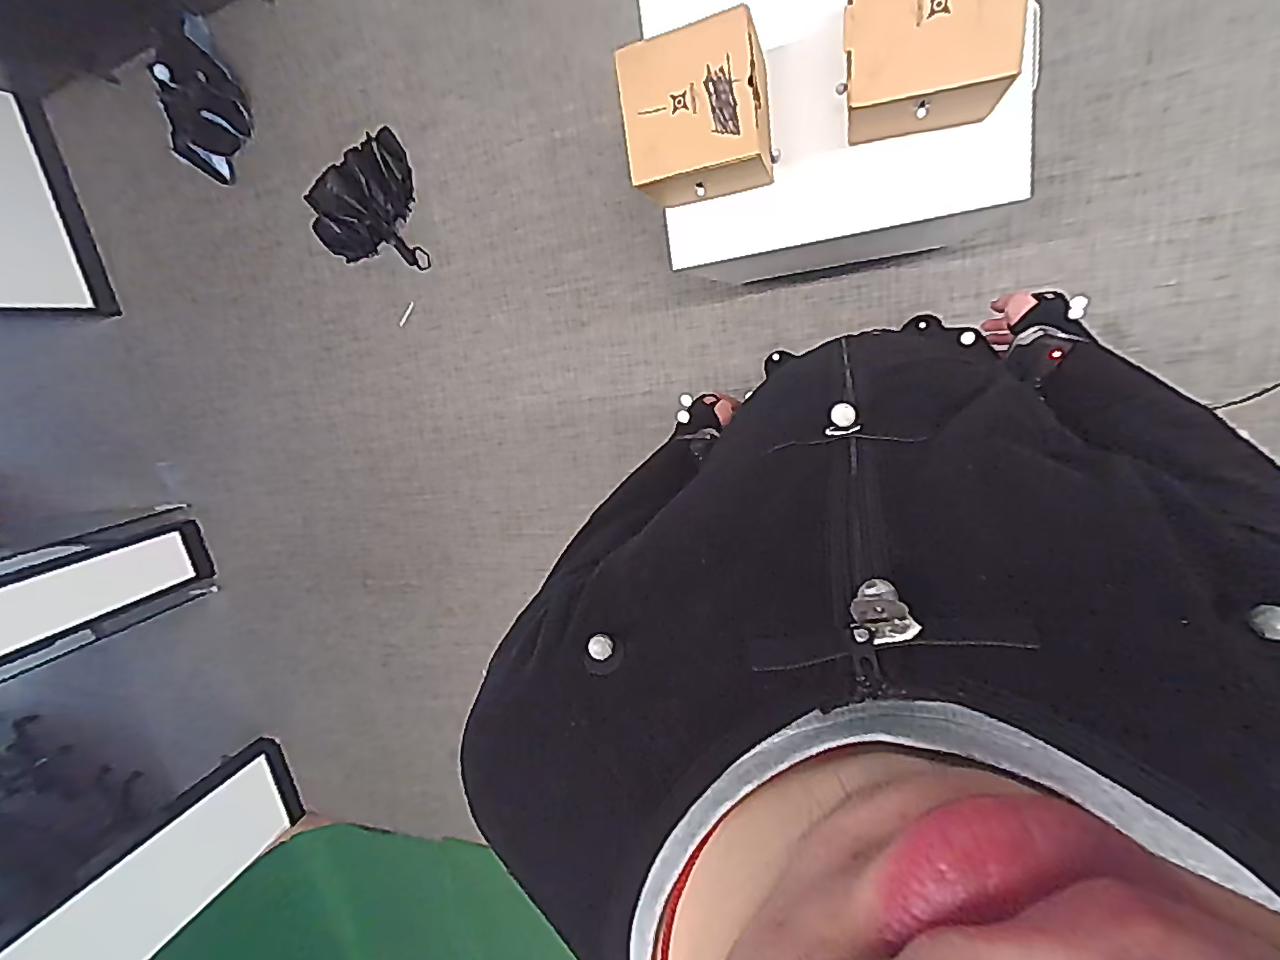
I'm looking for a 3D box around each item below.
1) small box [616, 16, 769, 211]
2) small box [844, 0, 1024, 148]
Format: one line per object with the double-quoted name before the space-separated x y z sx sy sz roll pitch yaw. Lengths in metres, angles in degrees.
"small box" 0.086 -0.498 0.767 0.179 0.176 0.168 -2 104 22
"small box" 0.346 -0.529 0.662 0.179 0.176 0.168 1 108 20
